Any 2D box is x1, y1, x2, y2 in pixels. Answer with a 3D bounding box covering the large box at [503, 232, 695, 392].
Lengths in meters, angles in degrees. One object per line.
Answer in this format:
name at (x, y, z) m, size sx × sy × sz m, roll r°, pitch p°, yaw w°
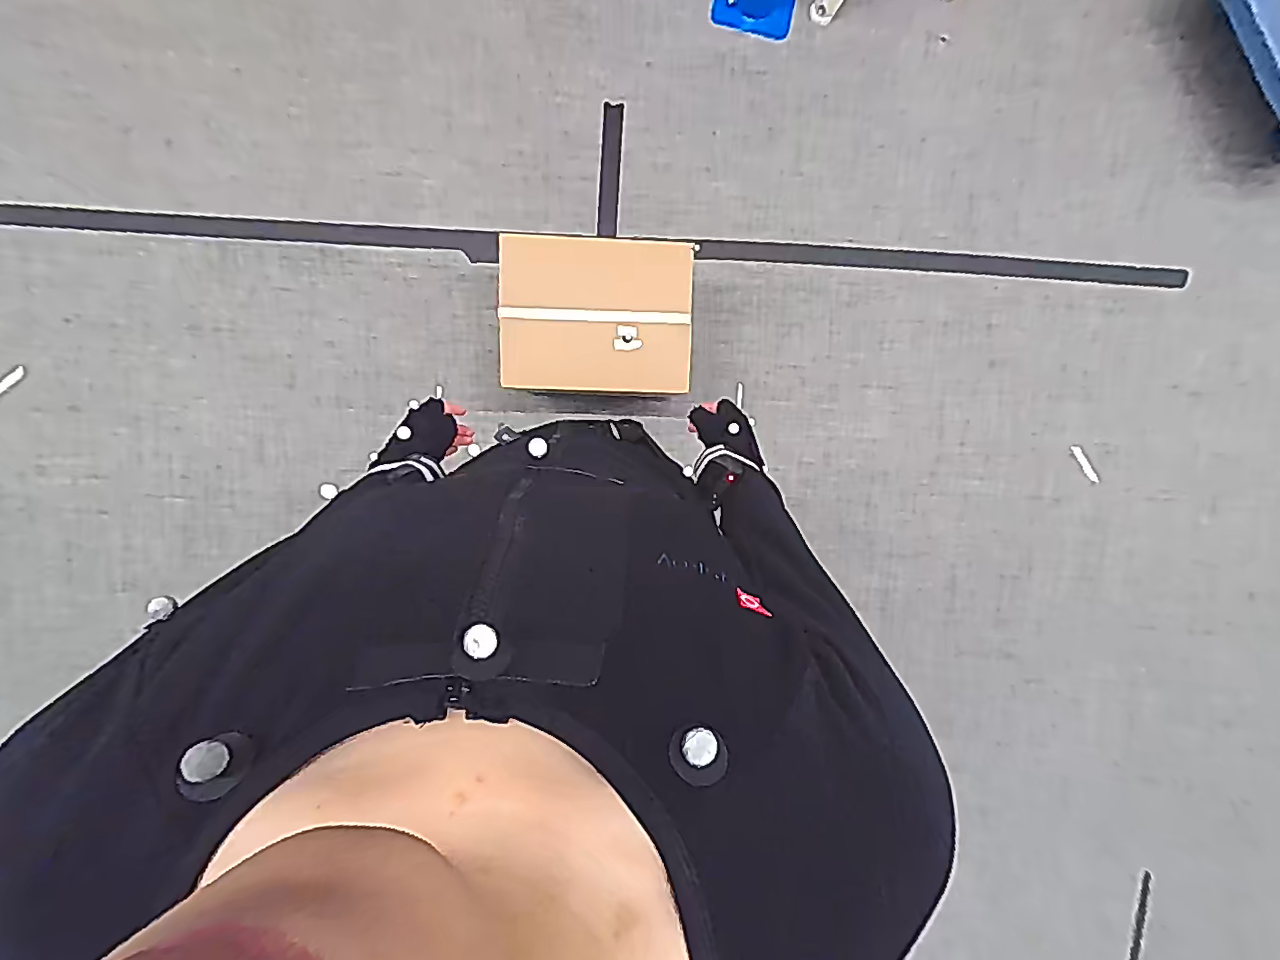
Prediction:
large box at (-0.096, -0.372, 1.283) m, size 0.408 × 0.320 × 0.320 m, roll 1°, pitch 98°, yaw -4°
